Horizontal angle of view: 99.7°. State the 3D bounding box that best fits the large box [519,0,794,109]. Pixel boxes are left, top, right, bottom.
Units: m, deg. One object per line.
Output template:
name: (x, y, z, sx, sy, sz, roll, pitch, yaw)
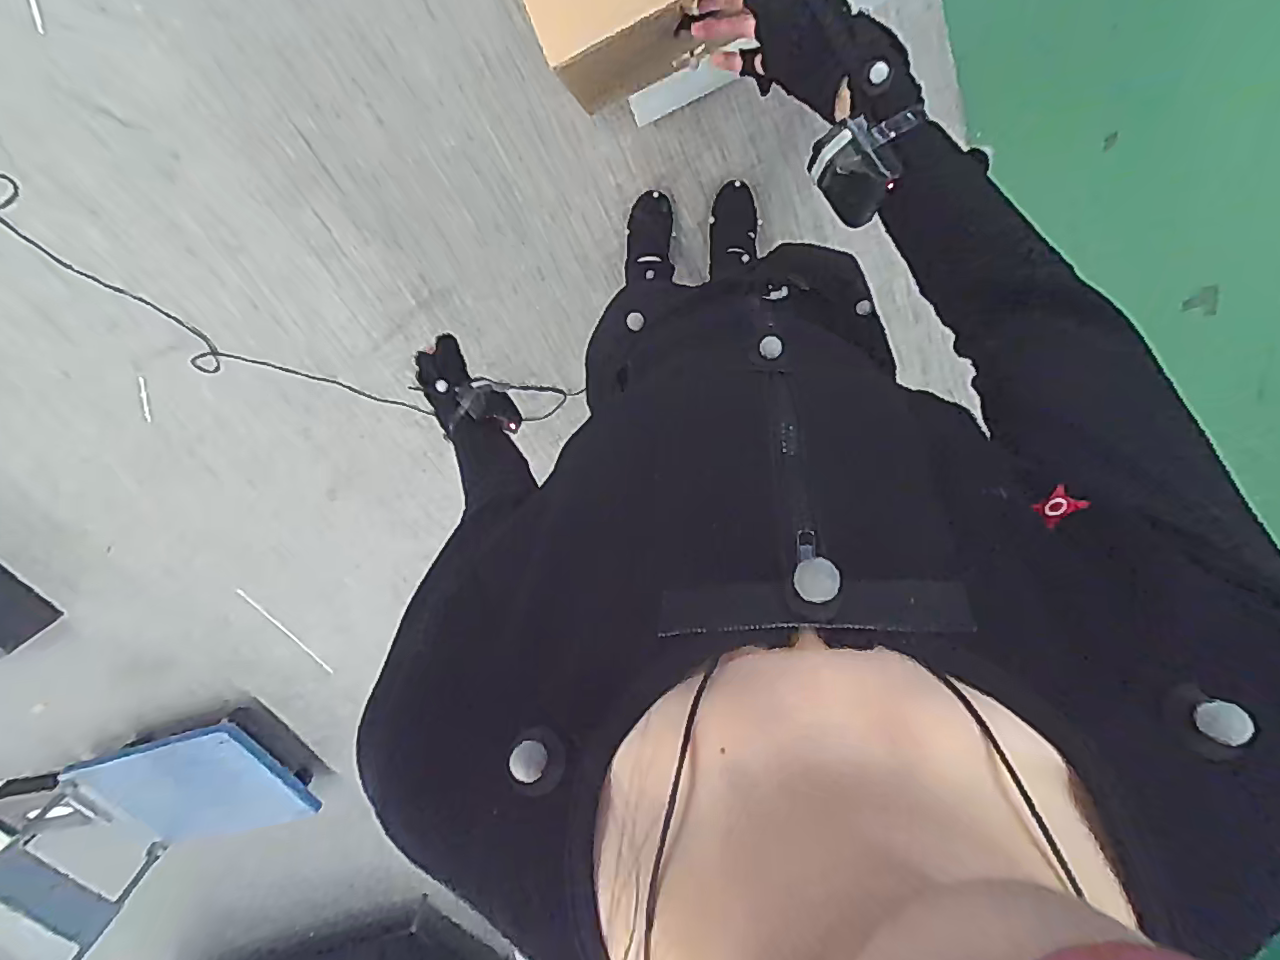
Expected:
large box: (-0.008, -0.622, 0.457, 0.320, 0.320, 0.408, -20, 115, 12)
